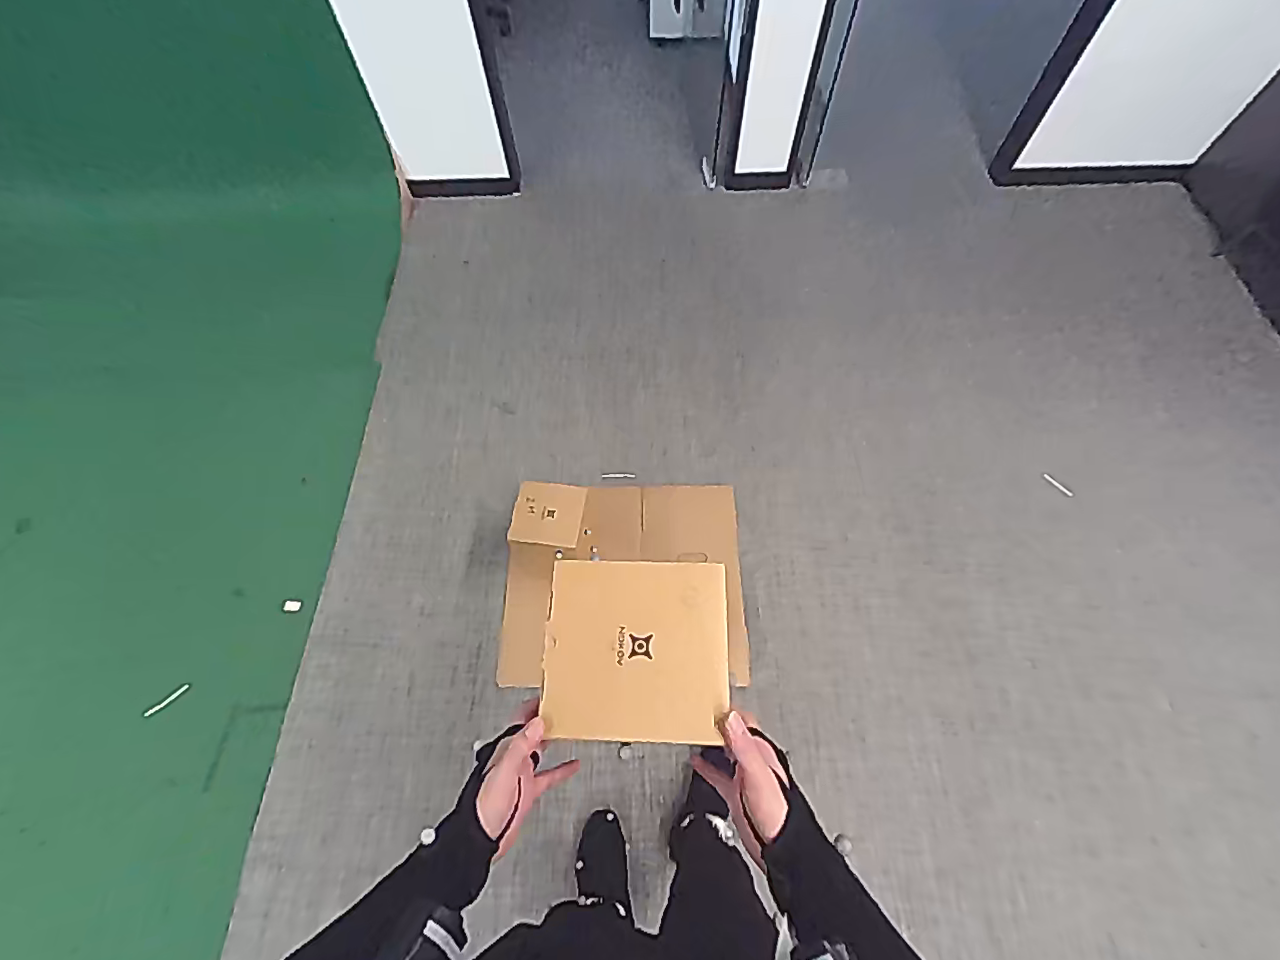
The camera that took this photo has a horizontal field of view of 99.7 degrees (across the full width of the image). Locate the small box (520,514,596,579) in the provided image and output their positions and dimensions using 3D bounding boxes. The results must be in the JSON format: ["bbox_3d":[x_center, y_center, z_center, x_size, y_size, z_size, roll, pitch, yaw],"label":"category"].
[{"bbox_3d":[-0.228,0.187,1.561,0.179,0.176,0.168,7,63,4],"label":"small box"}]

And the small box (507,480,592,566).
[{"bbox_3d":[-0.226,0.118,1.410,0.179,0.176,0.168,7,63,4],"label":"small box"}]

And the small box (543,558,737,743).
[{"bbox_3d":[0.005,0.187,0.586,0.179,0.176,0.168,0,66,4],"label":"small box"}]
